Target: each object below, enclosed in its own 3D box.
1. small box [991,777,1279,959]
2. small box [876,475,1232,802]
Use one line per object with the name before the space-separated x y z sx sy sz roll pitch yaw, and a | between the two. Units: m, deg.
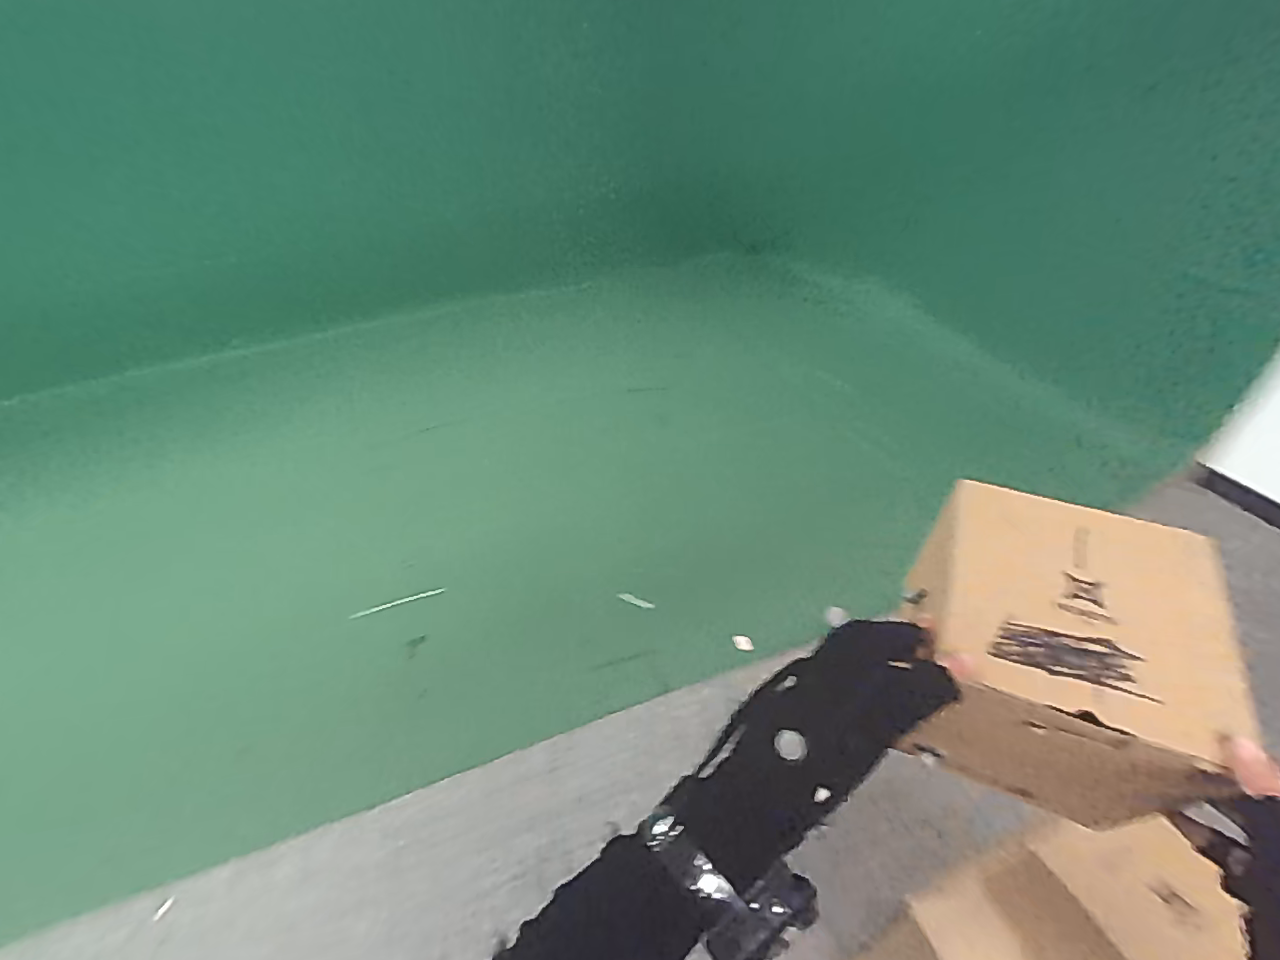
small box | 0.527 0.463 0.578 0.168 0.176 0.179 -20 42 -12
small box | 0.305 0.130 0.442 0.168 0.176 0.179 16 53 18
